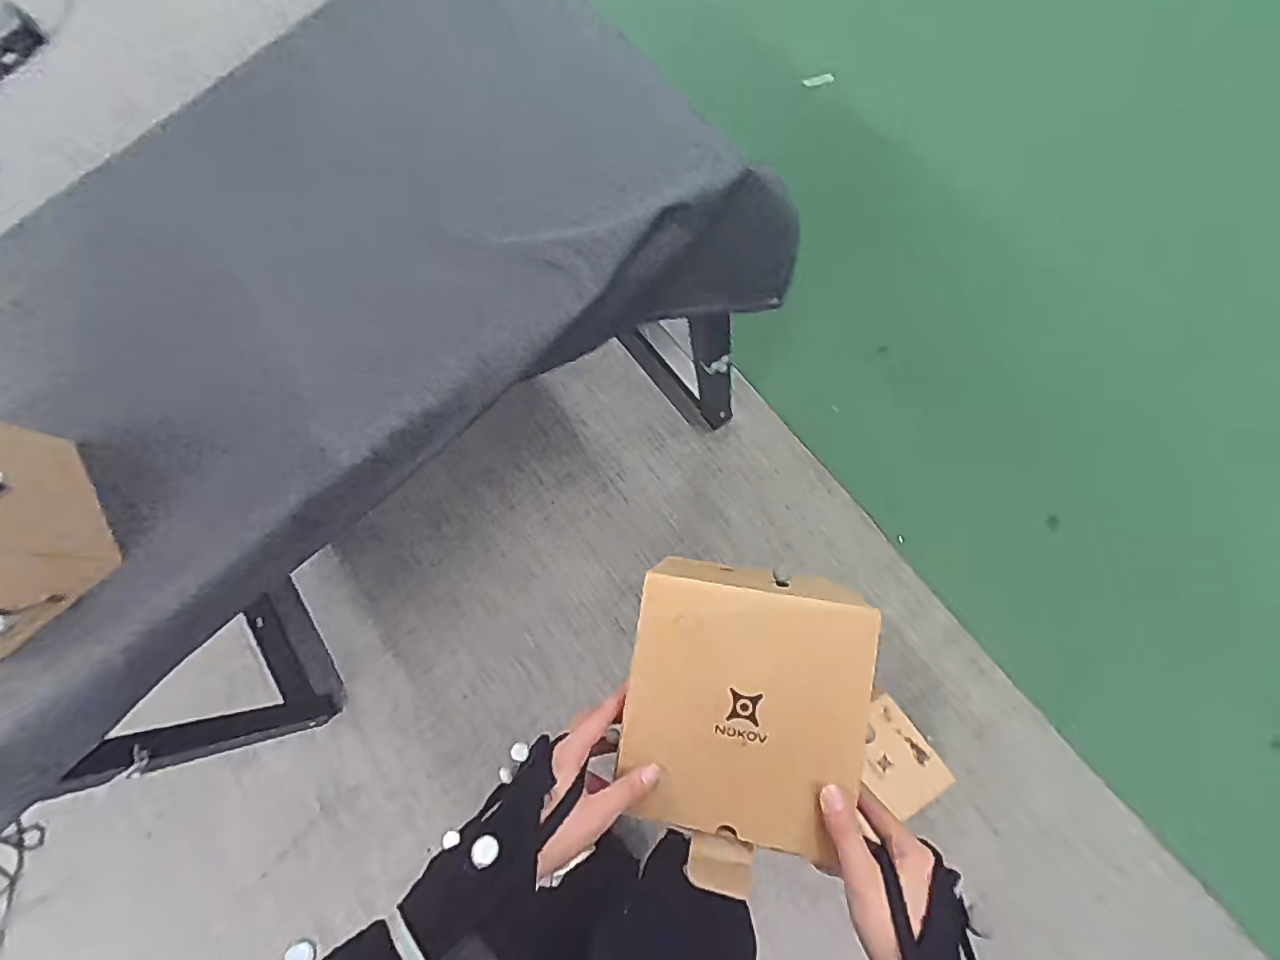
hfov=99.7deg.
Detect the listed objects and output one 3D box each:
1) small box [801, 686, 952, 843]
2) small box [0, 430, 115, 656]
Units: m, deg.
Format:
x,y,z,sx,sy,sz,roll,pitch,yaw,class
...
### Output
x,y,z,sx,sy,sz,roll,pitch,yaw,class
0.407,0.496,0.971,0.179,0.176,0.168,-37,73,0,small box
-0.656,0.052,0.496,0.168,0.176,0.179,-39,74,-2,small box
